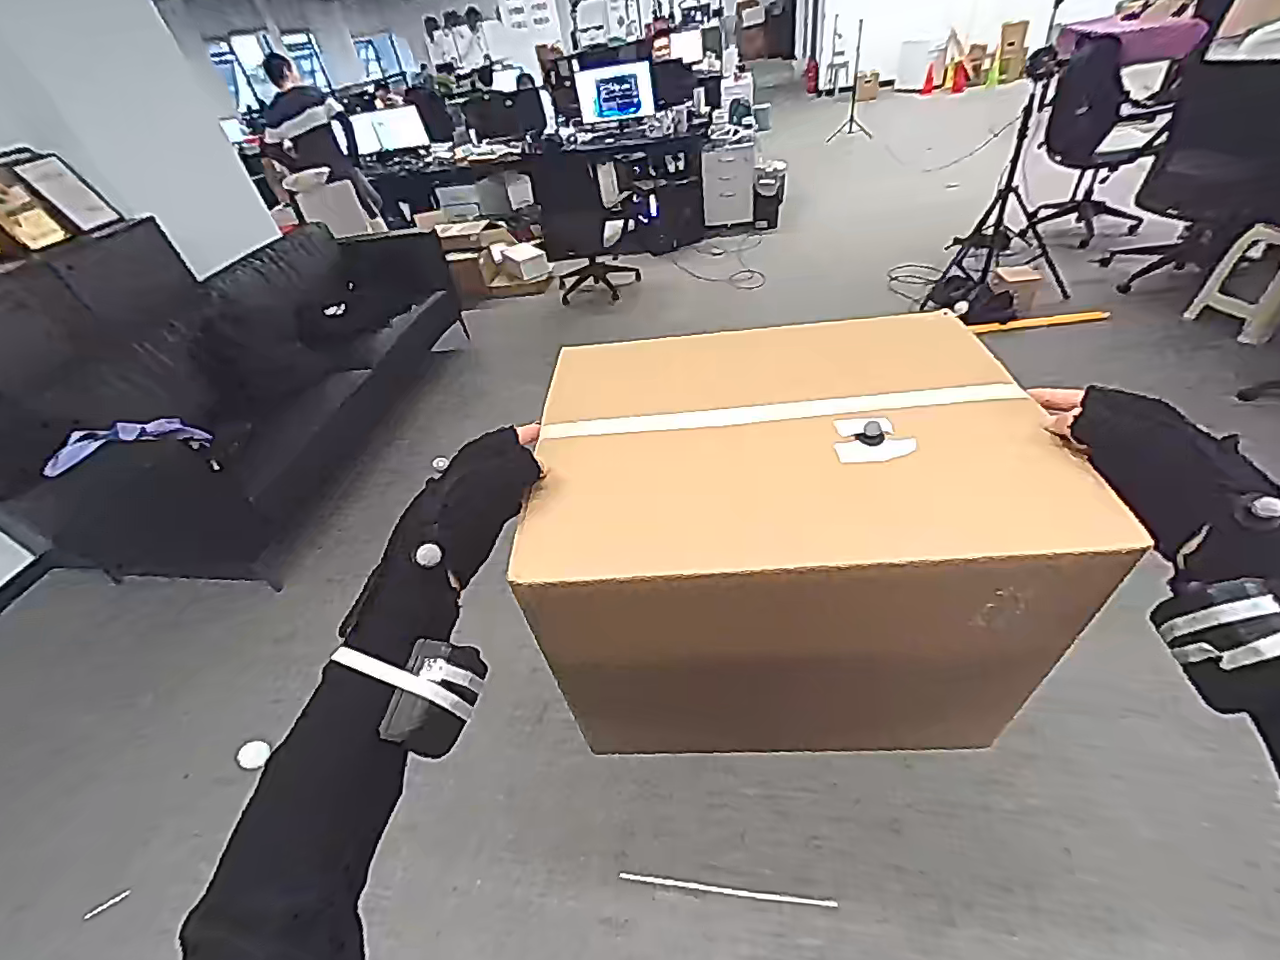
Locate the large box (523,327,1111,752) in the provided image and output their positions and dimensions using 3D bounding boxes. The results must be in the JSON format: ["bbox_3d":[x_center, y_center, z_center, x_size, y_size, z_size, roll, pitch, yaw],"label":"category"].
[{"bbox_3d":[0.128,0.065,0.573,0.408,0.320,0.320,-4,43,5],"label":"large box"}]
